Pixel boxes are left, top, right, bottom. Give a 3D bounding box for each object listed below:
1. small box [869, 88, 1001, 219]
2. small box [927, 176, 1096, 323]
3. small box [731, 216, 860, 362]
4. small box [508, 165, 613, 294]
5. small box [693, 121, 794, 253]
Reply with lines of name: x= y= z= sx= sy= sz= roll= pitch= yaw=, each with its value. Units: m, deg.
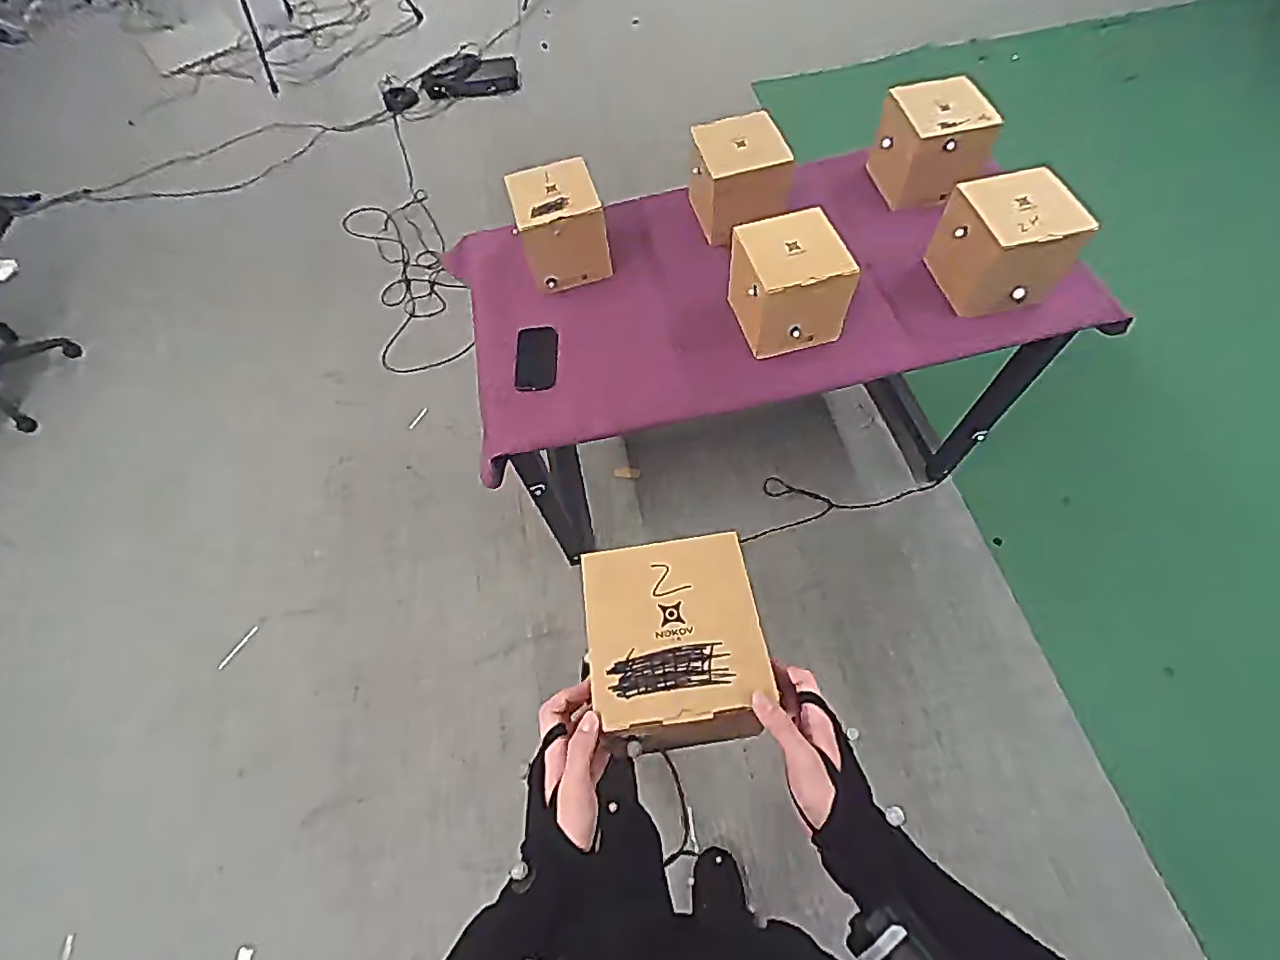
small box: x=0.615 y=-0.695 z=1.159 sx=0.168 sy=0.176 sz=0.179 roll=-11 pitch=61 yaw=0
small box: x=0.670 y=-0.422 z=1.004 sx=0.168 sy=0.176 sz=0.179 roll=-11 pitch=61 yaw=1
small box: x=0.275 y=-0.351 z=1.006 sx=0.168 sy=0.176 sz=0.179 roll=-14 pitch=61 yaw=-3
small box: x=-0.161 y=-0.513 z=1.131 sx=0.168 sy=0.176 sz=0.179 roll=-16 pitch=61 yaw=-4
small box: x=0.211 y=-0.623 z=1.159 sx=0.168 sy=0.176 sz=0.179 roll=-14 pitch=62 yaw=-1
